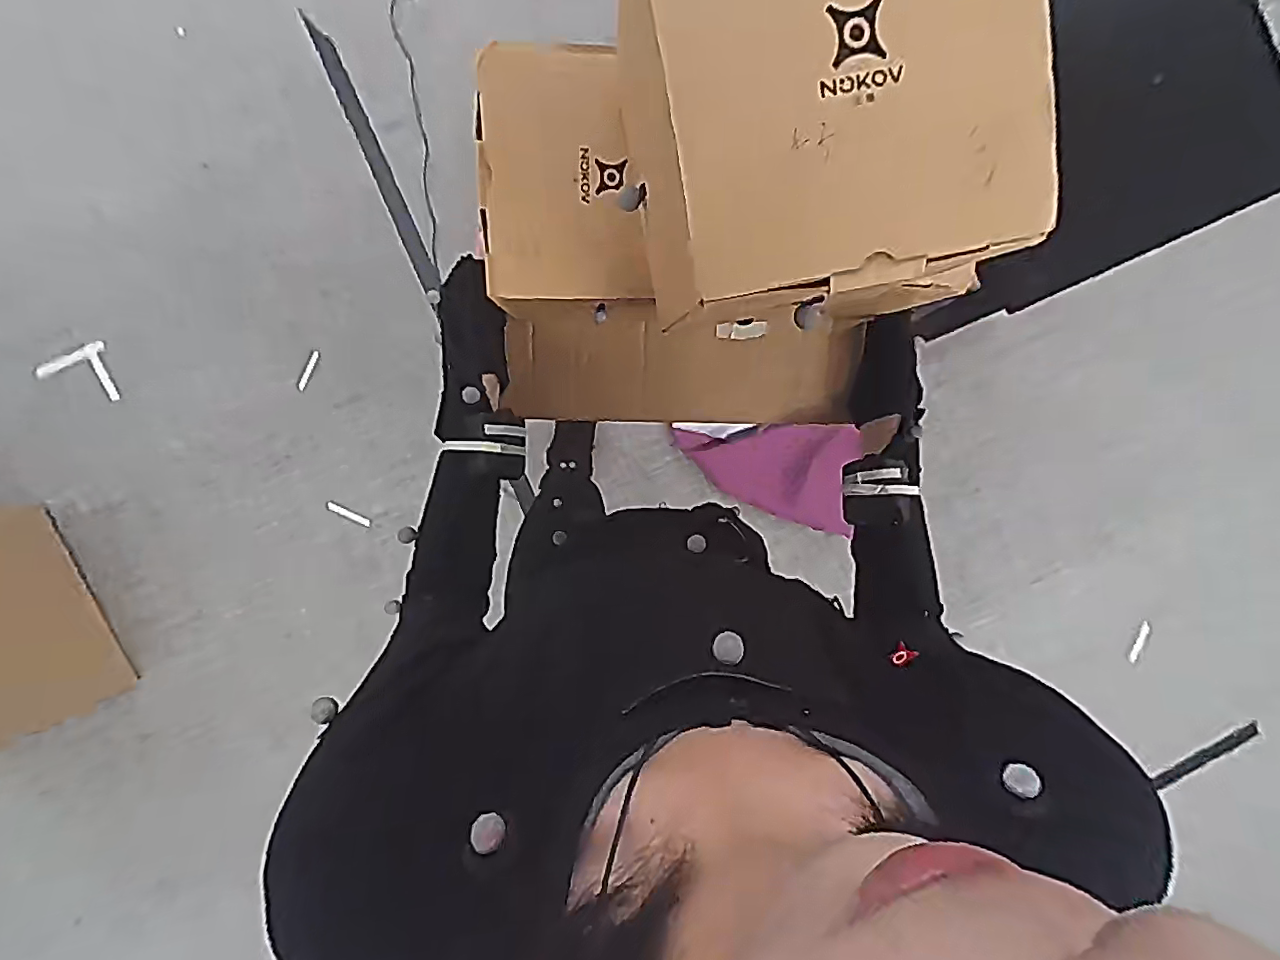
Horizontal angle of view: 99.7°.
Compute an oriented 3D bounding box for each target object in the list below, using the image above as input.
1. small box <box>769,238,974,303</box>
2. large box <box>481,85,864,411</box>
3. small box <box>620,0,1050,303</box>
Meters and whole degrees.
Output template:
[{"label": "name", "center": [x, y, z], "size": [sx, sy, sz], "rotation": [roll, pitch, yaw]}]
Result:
[{"label": "small box", "center": [0.170, -0.258, 0.466], "size": [0.168, 0.176, 0.179], "rotation": [5, 98, -4]}, {"label": "large box", "center": [0.030, -0.255, 0.704], "size": [0.408, 0.320, 0.320], "rotation": [0, 101, -5]}, {"label": "small box", "center": [0.085, -0.204, 0.304], "size": [0.168, 0.176, 0.179], "rotation": [-12, 102, -2]}]
